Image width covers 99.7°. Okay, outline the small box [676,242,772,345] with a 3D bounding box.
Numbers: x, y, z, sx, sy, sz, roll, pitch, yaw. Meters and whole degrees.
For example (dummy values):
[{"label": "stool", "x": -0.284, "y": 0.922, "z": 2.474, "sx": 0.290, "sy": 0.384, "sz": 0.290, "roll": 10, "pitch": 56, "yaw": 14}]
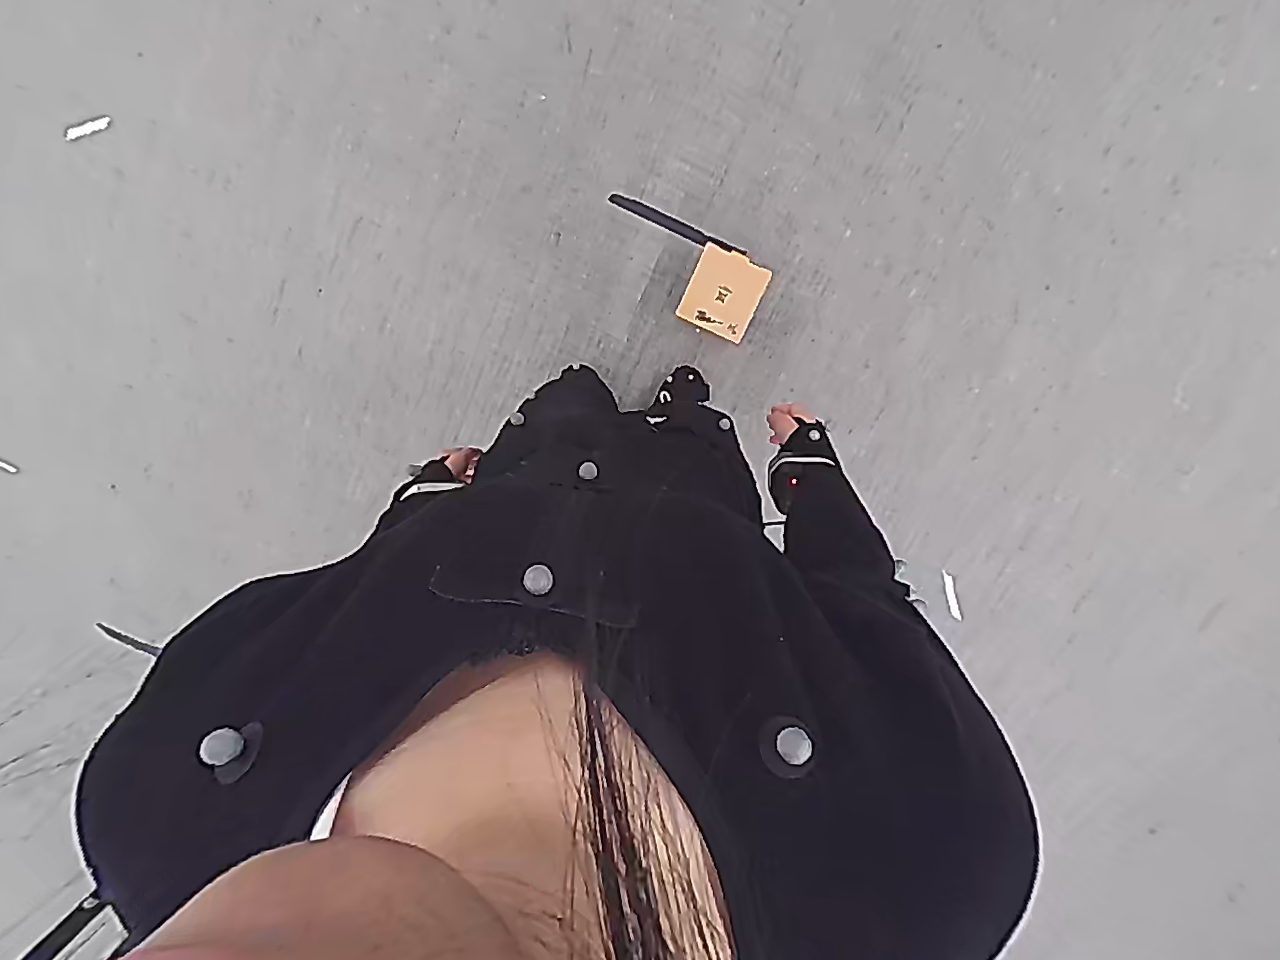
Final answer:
[{"label": "small box", "x": 0.192, "y": -0.442, "z": 1.309, "sx": 0.168, "sy": 0.176, "sz": 0.179, "roll": 24, "pitch": 102, "yaw": -3}]
